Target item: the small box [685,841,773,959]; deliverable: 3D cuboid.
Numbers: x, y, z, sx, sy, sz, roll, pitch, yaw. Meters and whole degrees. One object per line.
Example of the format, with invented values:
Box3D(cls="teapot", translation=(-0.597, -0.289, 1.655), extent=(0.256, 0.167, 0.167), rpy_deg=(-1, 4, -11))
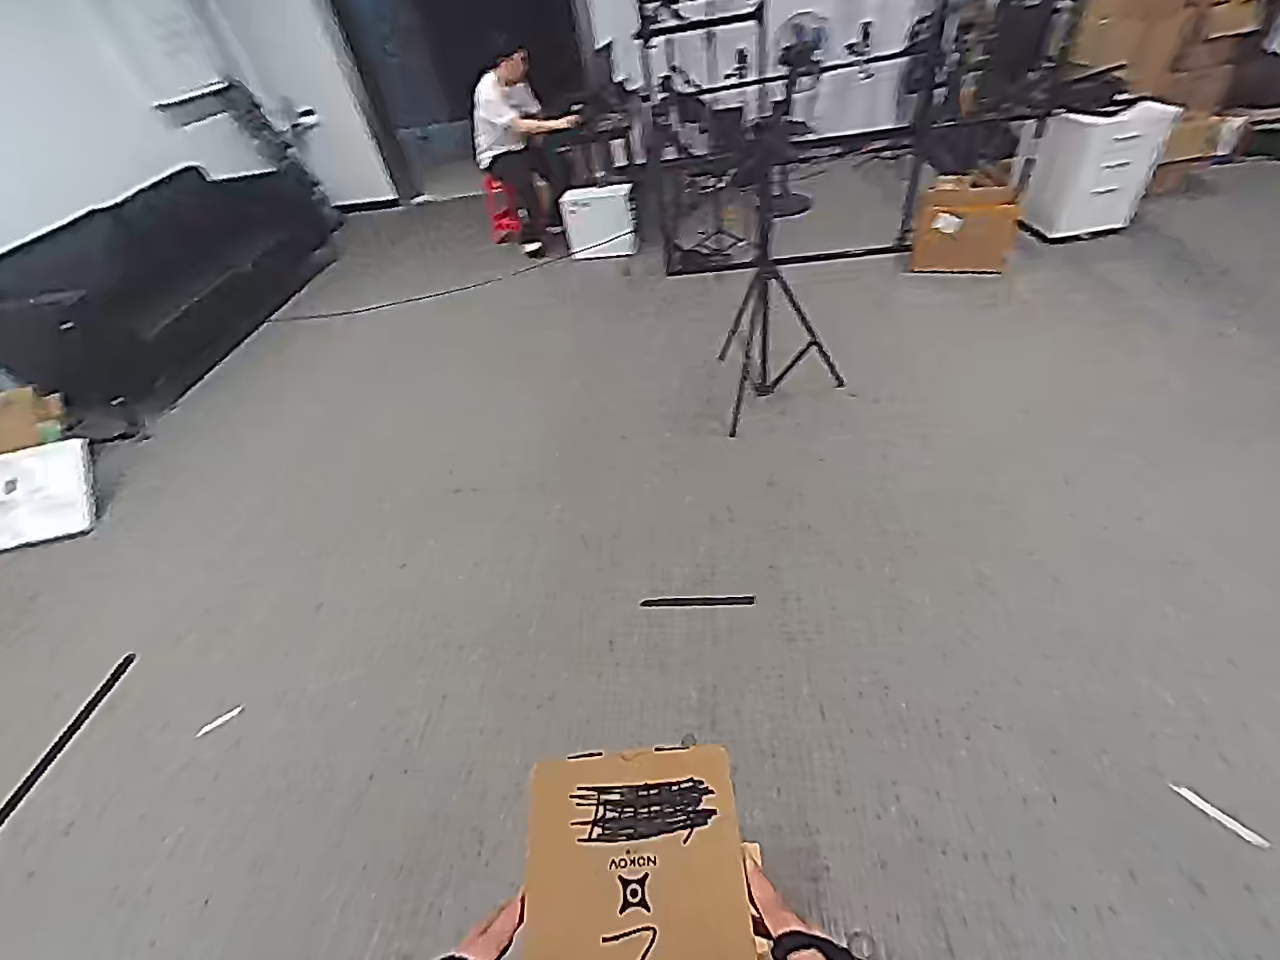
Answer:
Box3D(cls="small box", translation=(0.181, 0.875, 1.122), extent=(0.168, 0.176, 0.179), rpy_deg=(-4, 44, 8))
